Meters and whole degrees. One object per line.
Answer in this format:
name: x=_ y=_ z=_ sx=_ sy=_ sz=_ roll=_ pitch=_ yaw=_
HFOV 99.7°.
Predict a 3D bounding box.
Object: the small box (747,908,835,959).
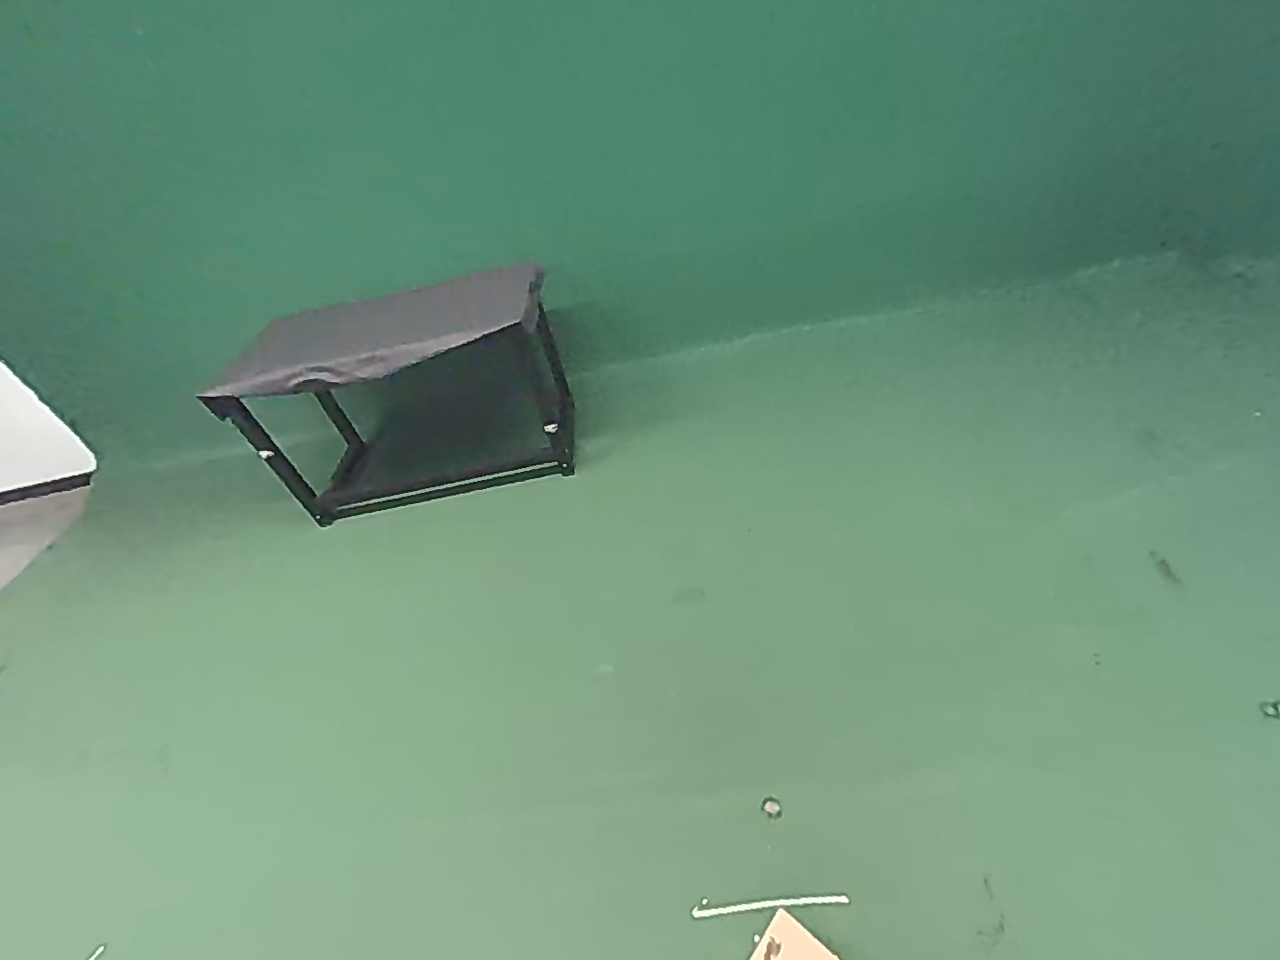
small box: x=0.272 y=0.899 z=0.931 sx=0.179 sy=0.176 sz=0.168 roll=25 pitch=53 yaw=38
